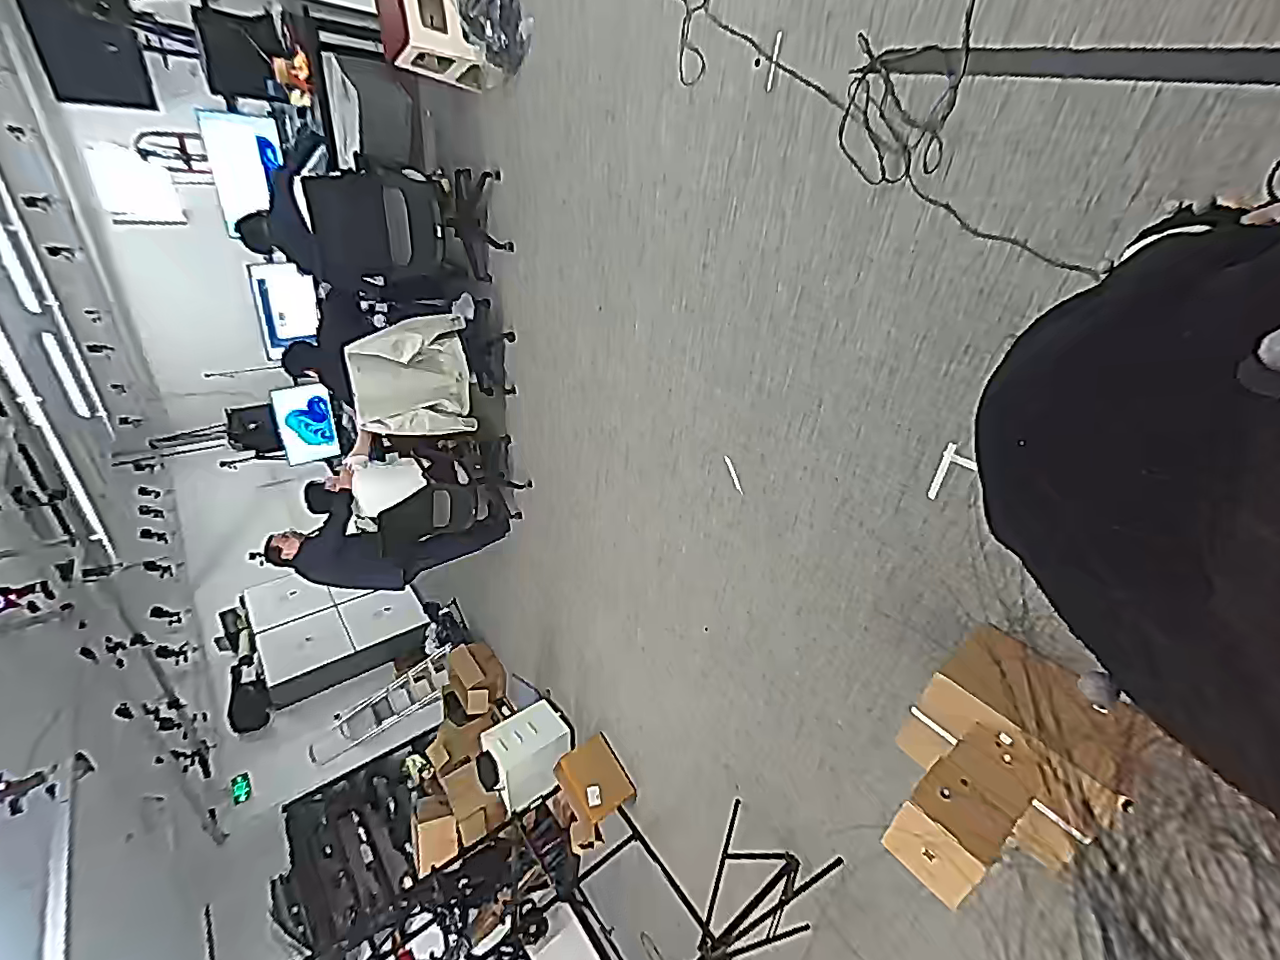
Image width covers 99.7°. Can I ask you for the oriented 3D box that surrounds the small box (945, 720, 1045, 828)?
[{"bbox_3d":[0.790,0.701,1.248,0.168,0.176,0.179,36,131,39],"label":"small box"}]

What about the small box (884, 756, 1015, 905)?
[{"bbox_3d":[0.662,0.736,1.154,0.168,0.176,0.179,35,132,41],"label":"small box"}]
